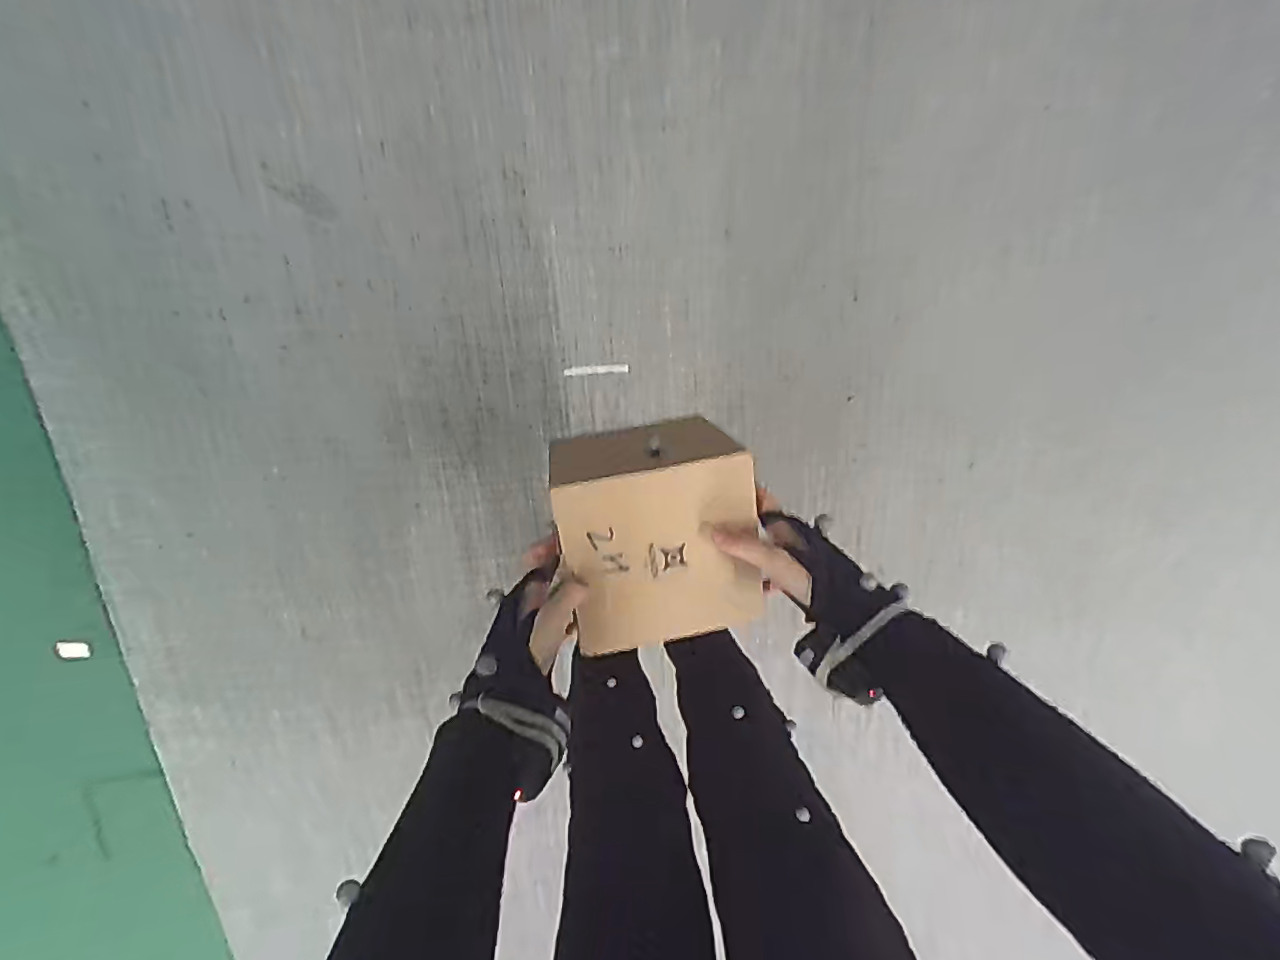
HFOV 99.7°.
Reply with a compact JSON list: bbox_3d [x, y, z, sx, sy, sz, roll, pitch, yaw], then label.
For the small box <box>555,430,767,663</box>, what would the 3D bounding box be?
[{"bbox_3d":[0.013,0.053,0.554,0.179,0.176,0.168,-10,108,-6],"label":"small box"}]
